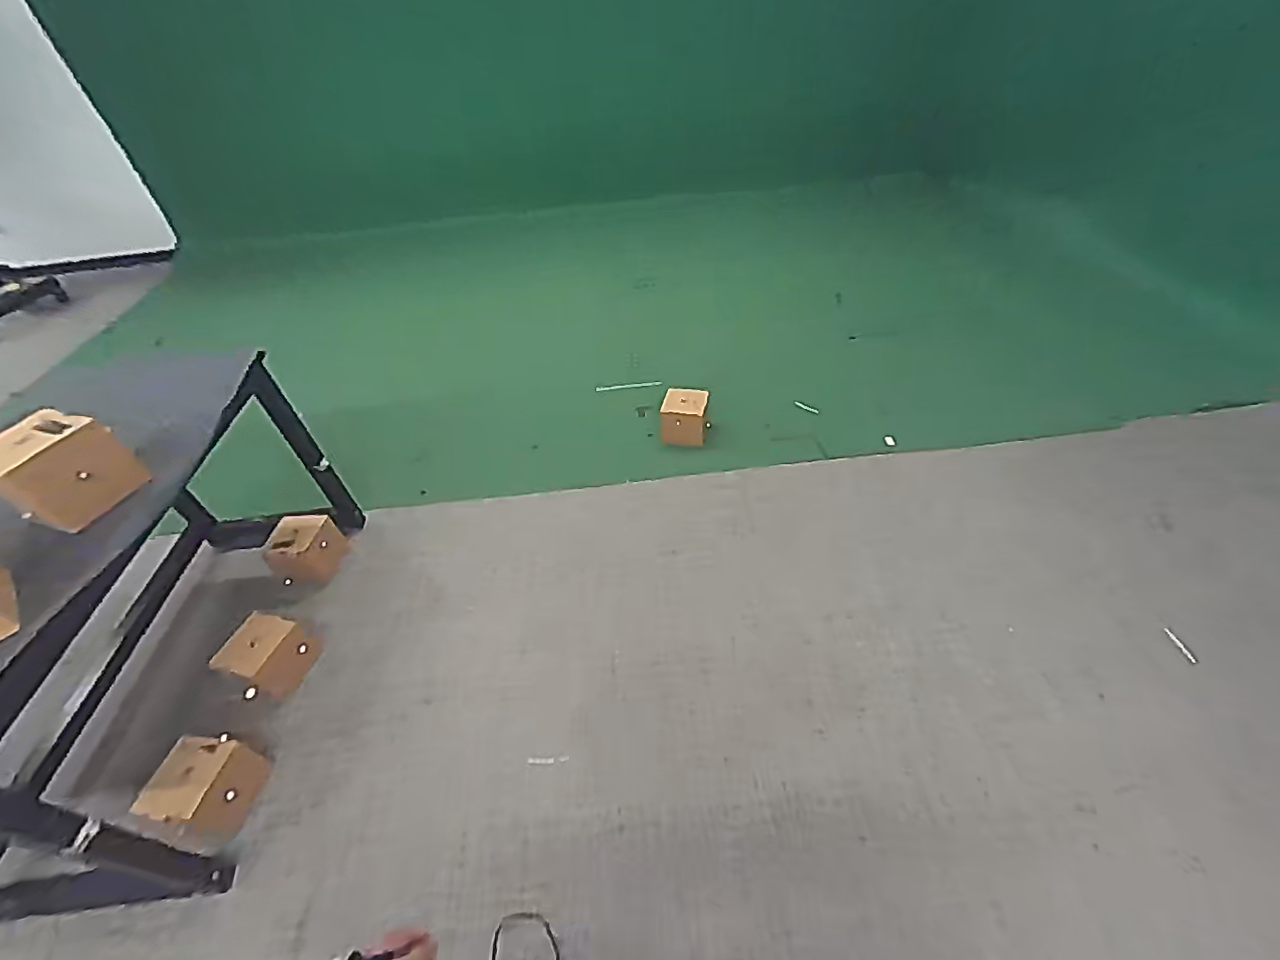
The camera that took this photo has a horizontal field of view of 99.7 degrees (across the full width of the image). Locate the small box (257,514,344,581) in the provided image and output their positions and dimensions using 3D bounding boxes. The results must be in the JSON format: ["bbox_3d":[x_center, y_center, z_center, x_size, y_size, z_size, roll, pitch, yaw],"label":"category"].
[{"bbox_3d":[-1.166,0.239,1.874,0.168,0.176,0.179,-2,44,3],"label":"small box"}]

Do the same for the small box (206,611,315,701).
[{"bbox_3d":[-1.096,0.517,1.585,0.168,0.176,0.179,8,47,14],"label":"small box"}]

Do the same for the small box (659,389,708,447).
[{"bbox_3d":[0.182,-0.256,2.244,0.179,0.176,0.168,8,46,13],"label":"small box"}]

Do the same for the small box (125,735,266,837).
[{"bbox_3d":[-1.082,0.760,1.337,0.168,0.176,0.179,3,45,8],"label":"small box"}]

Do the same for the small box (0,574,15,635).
[{"bbox_3d":[-1.186,0.202,0.875,0.179,0.176,0.168,31,55,32],"label":"small box"}]
